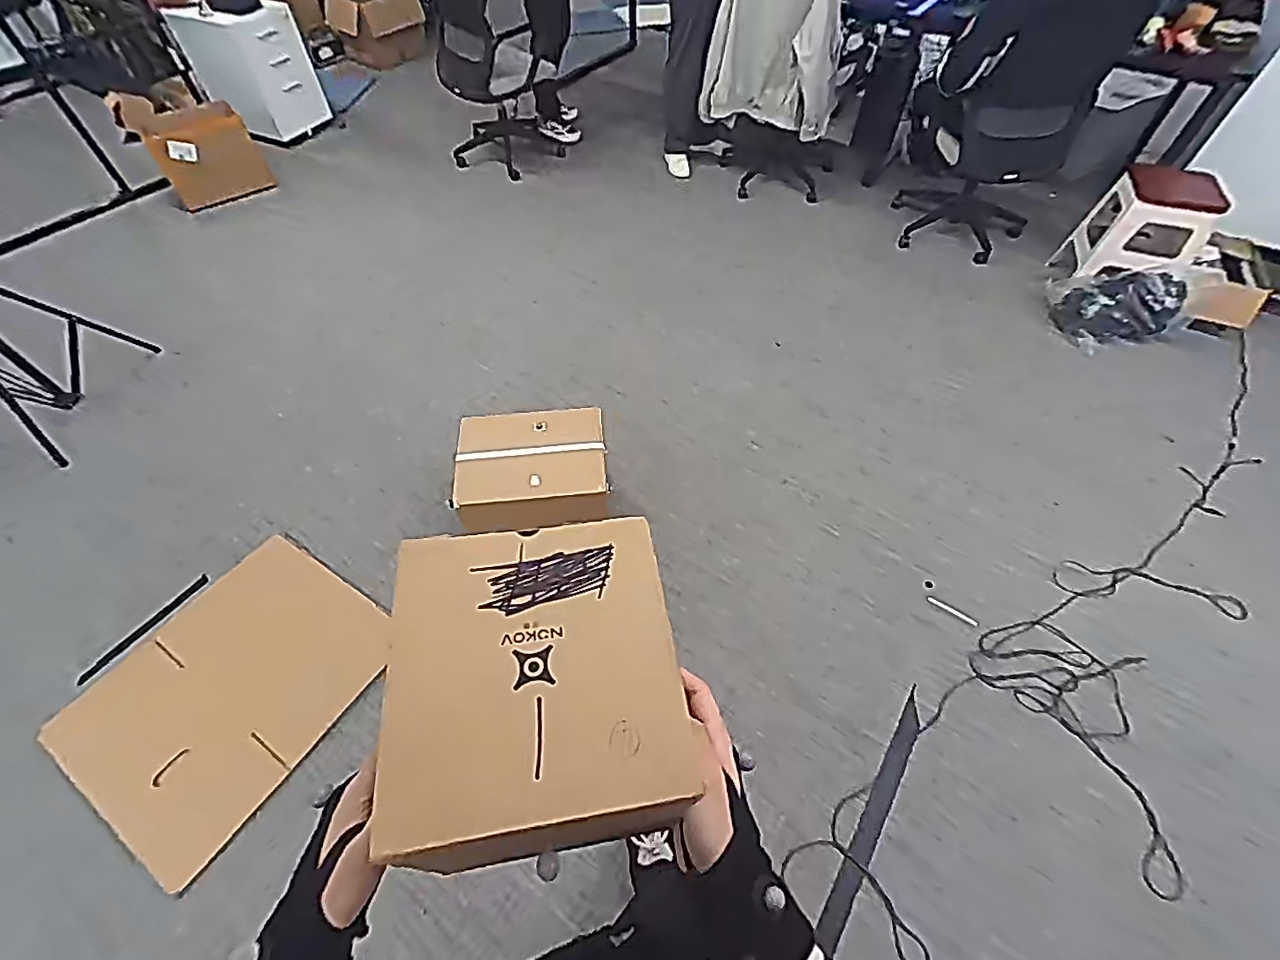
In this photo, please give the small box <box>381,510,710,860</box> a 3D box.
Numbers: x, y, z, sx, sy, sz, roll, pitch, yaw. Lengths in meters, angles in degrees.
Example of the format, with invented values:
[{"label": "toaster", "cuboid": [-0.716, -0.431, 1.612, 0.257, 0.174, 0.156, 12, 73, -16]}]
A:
[{"label": "small box", "cuboid": [-0.062, 0.144, 0.380, 0.168, 0.176, 0.179, -6, 53, -9]}]
